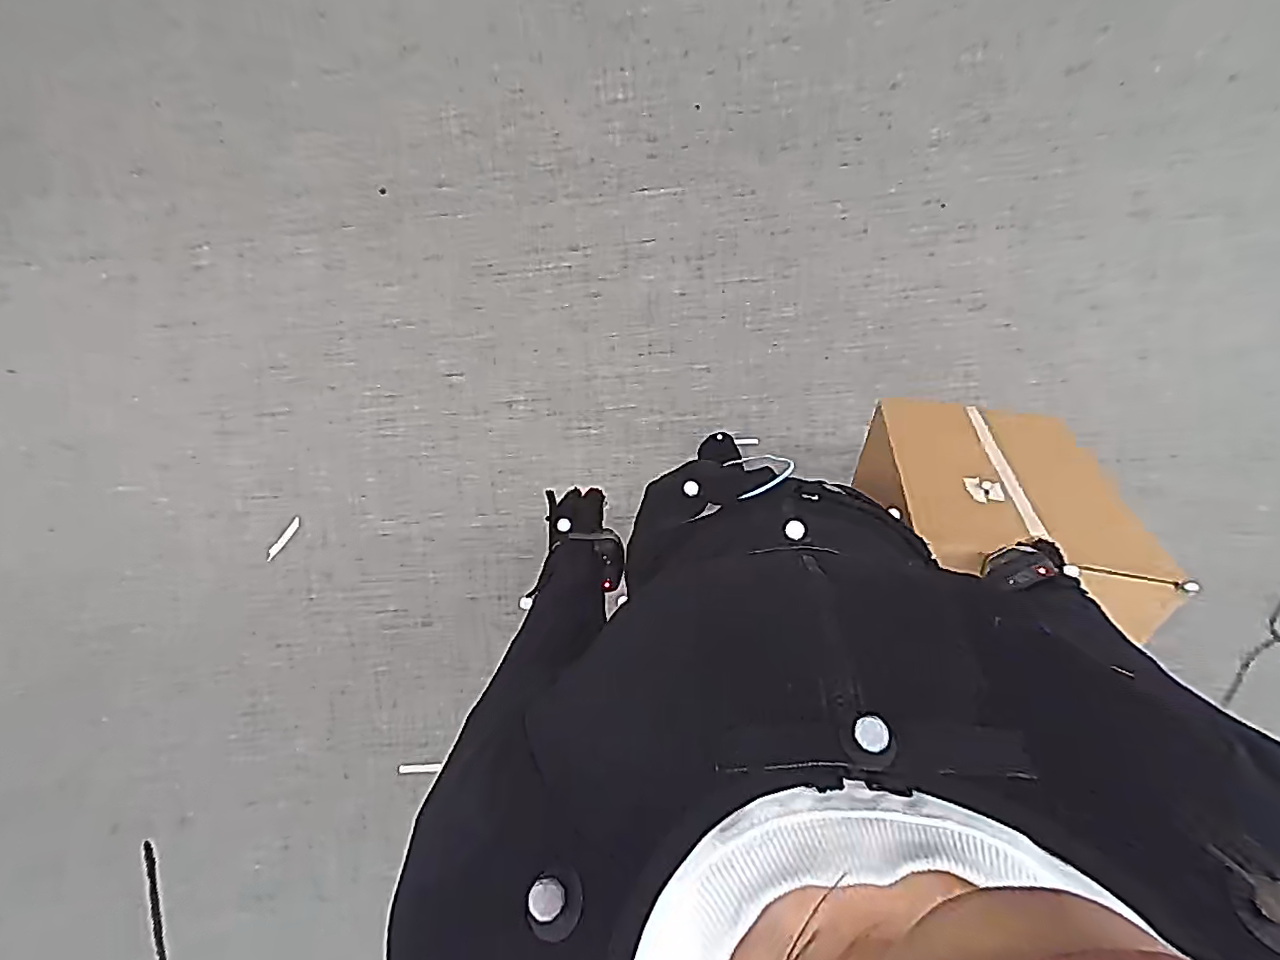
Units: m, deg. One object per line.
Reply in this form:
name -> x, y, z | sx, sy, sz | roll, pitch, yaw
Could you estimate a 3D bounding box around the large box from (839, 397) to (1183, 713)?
large box -> 0.545, 0.106, 0.917 | 0.320, 0.408, 0.320 | 8, 129, 10
